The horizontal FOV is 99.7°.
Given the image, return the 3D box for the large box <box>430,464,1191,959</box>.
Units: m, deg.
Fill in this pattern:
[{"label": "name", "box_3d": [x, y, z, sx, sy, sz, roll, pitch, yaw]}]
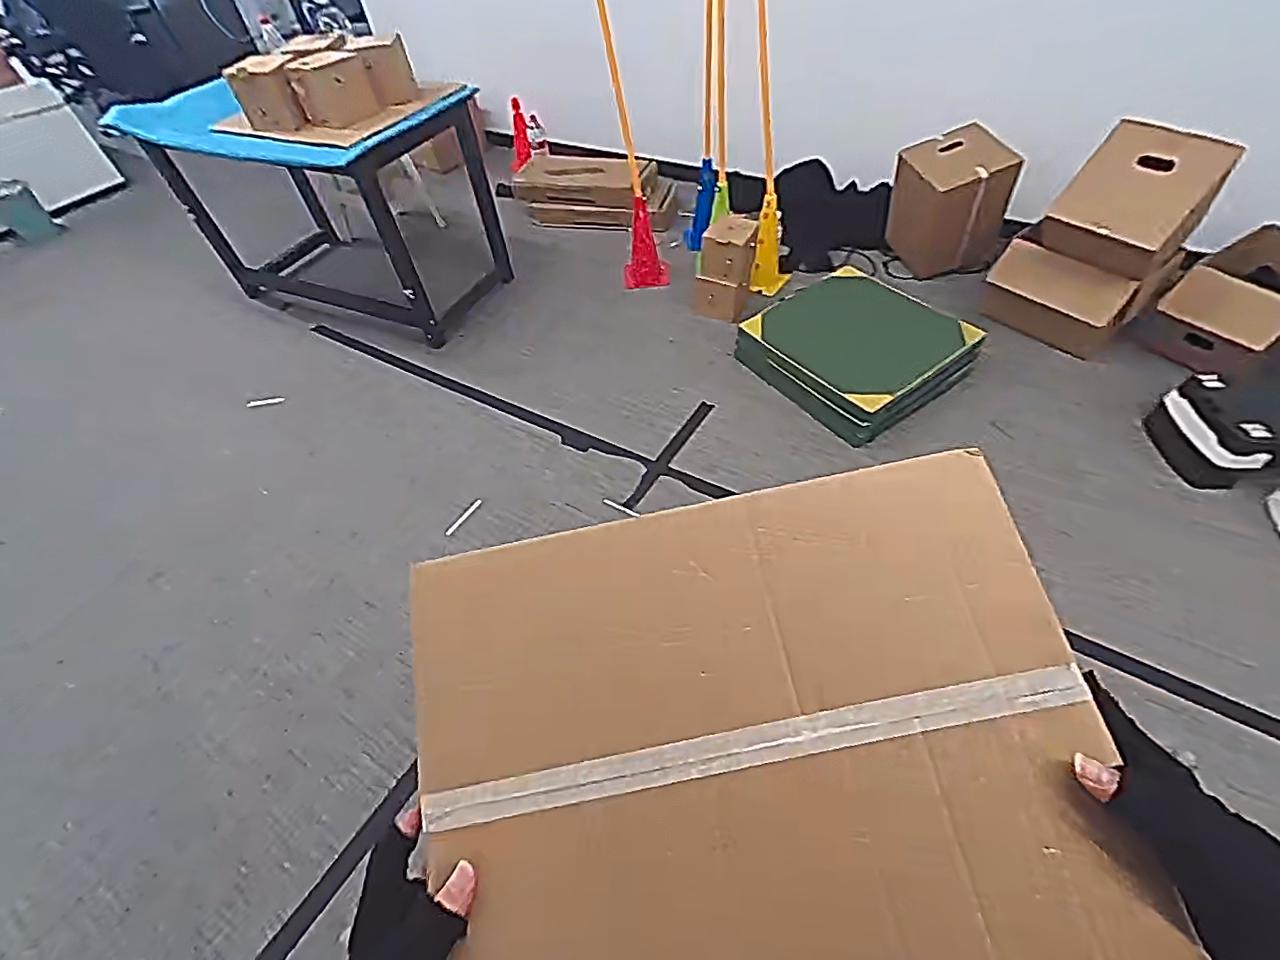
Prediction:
[{"label": "large box", "box_3d": [0.084, 0.222, 0.476, 0.408, 0.320, 0.320, -13, 71, 1]}]
